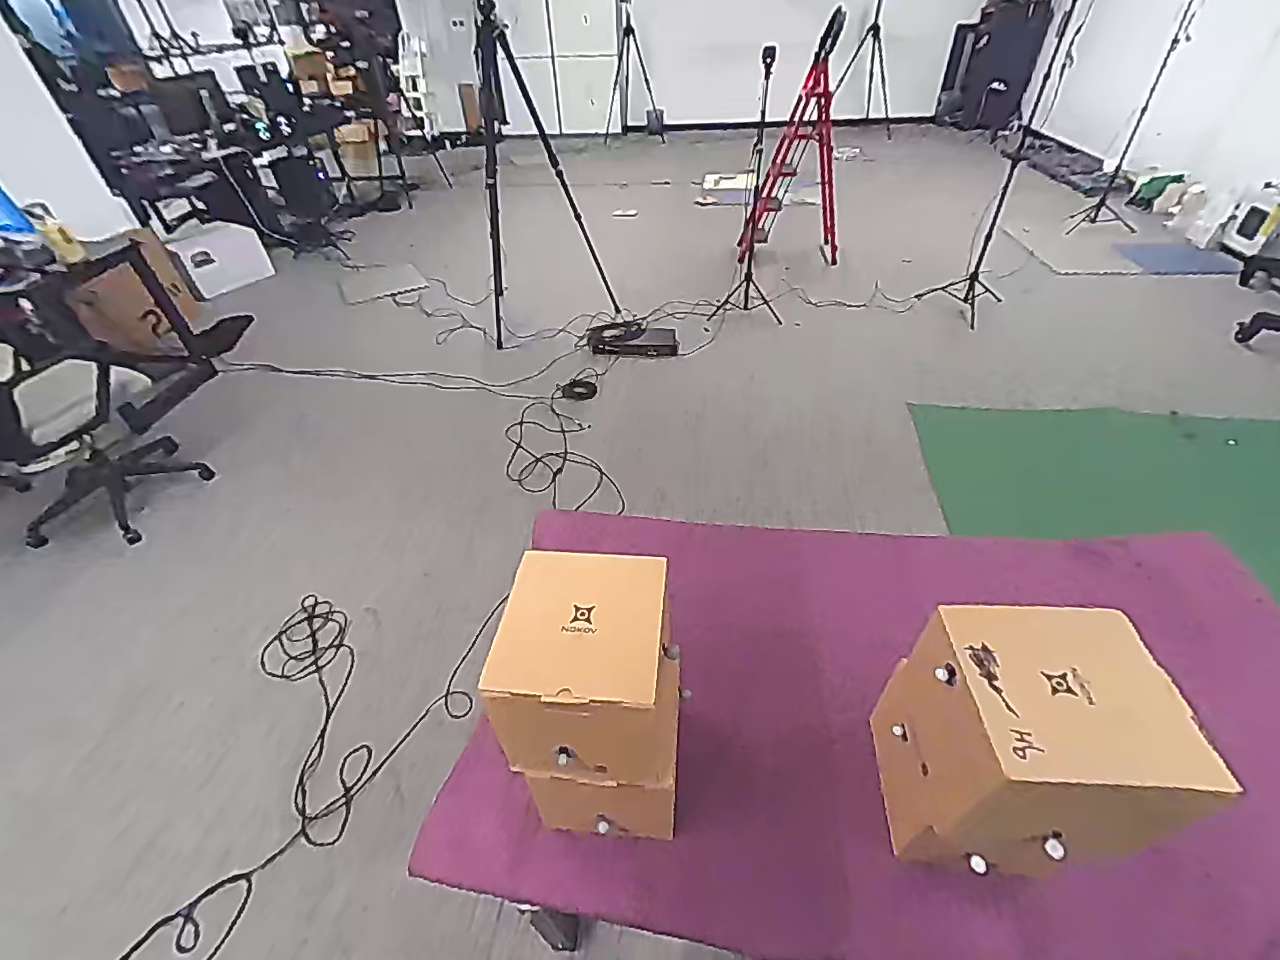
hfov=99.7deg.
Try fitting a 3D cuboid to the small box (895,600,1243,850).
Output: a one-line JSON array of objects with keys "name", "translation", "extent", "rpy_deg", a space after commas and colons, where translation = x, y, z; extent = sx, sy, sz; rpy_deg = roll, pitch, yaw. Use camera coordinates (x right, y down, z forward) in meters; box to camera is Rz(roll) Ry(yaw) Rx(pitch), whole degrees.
[{"name": "small box", "translation": [0.376, 0.236, 0.522], "extent": [0.179, 0.176, 0.168], "rpy_deg": [1, 42, 5]}]

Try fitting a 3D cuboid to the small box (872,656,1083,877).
[{"name": "small box", "translation": [0.394, 0.341, 0.650], "extent": [0.168, 0.176, 0.179], "rpy_deg": [3, 42, 8]}]

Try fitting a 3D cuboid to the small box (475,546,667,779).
[{"name": "small box", "translation": [-0.059, 0.196, 0.592], "extent": [0.168, 0.176, 0.179], "rpy_deg": [2, 41, 5]}]

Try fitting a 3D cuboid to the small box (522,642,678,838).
[{"name": "small box", "translation": [-0.039, 0.324, 0.691], "extent": [0.168, 0.176, 0.179], "rpy_deg": [2, 41, 6]}]
